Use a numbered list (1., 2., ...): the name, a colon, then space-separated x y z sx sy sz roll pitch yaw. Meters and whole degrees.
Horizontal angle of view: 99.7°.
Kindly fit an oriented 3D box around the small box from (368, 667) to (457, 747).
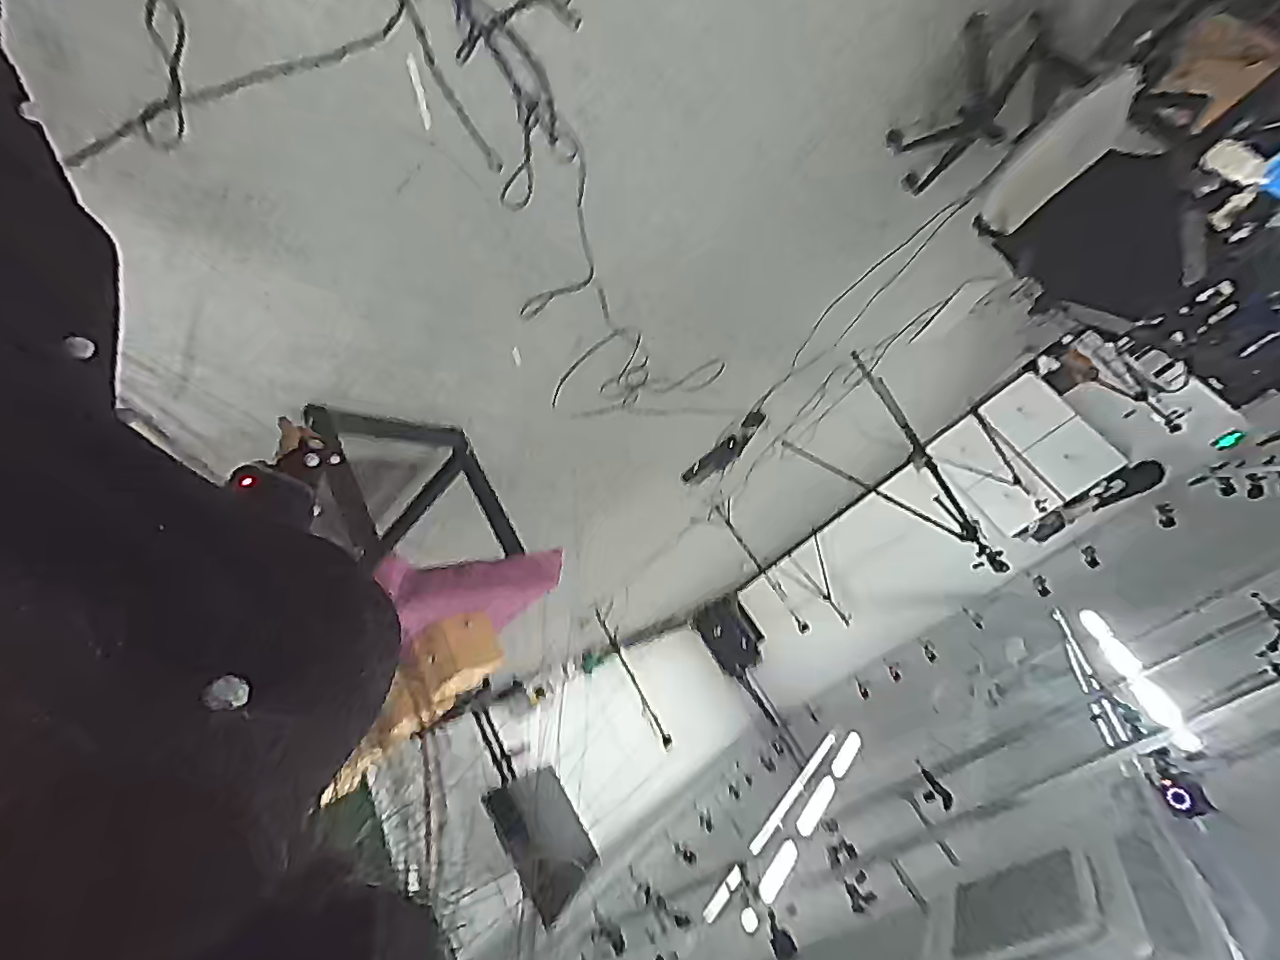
1. small box: -0.717 0.697 1.700 0.168 0.176 0.179 -45 155 25

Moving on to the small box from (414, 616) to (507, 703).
1. small box: -0.536 0.525 1.601 0.168 0.176 0.179 -43 156 20

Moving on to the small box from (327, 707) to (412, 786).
1. small box: -0.899 0.861 1.786 0.179 0.176 0.168 -42 156 18

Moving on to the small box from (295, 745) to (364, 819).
1. small box: -1.078 1.026 1.872 0.168 0.176 0.179 -14 151 -42
